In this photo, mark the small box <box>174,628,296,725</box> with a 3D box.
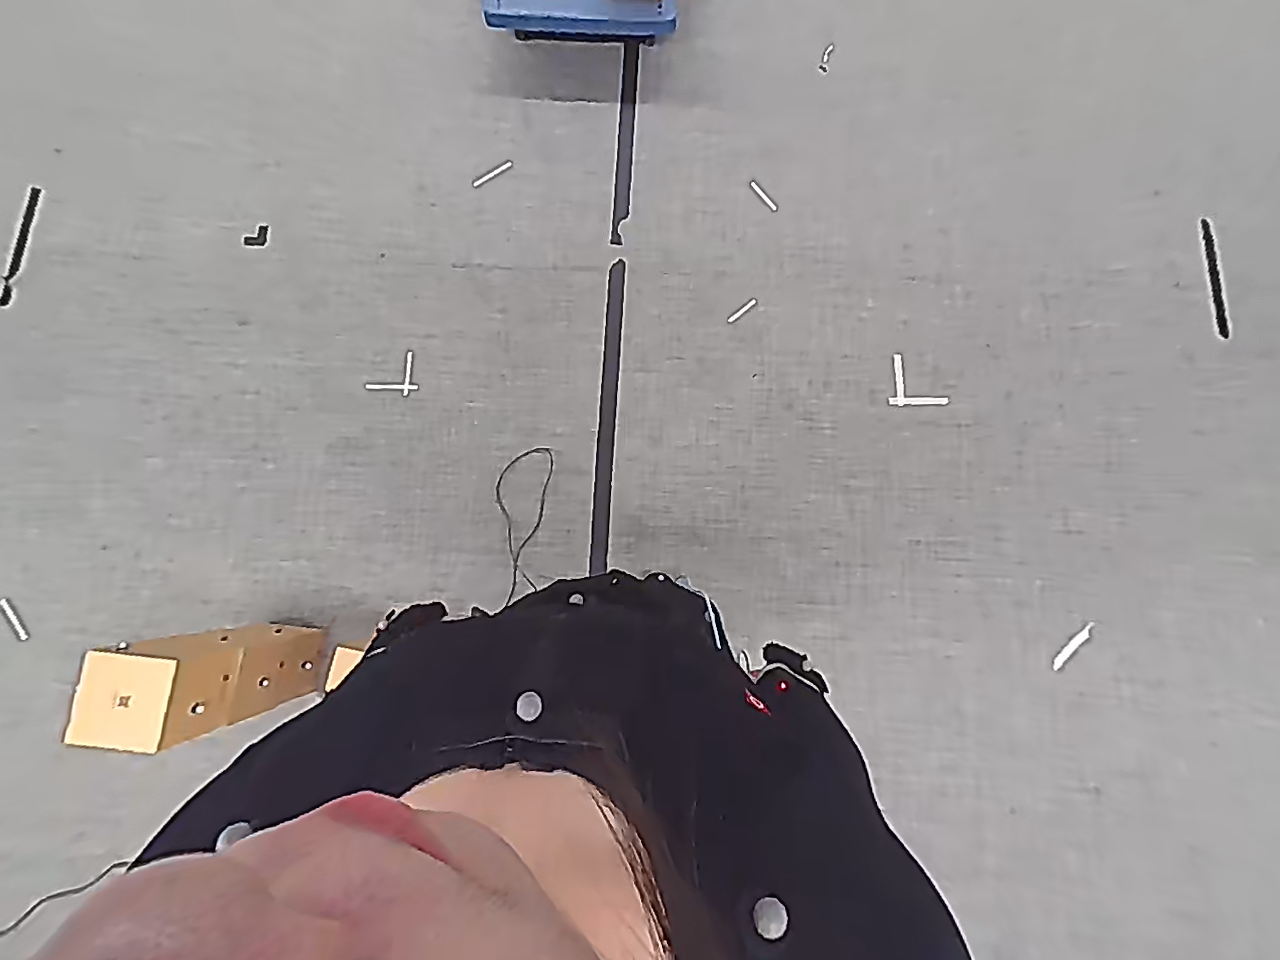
[{"bbox_3d":[-0.935,0.441,1.239,0.179,0.176,0.168,8,81,2],"label":"small box"}]

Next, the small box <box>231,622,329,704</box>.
[{"bbox_3d":[-0.944,0.467,1.402,0.179,0.176,0.168,6,81,1],"label":"small box"}]

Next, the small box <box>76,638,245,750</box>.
[{"bbox_3d":[-0.939,0.416,1.078,0.179,0.176,0.168,5,82,2],"label":"small box"}]
